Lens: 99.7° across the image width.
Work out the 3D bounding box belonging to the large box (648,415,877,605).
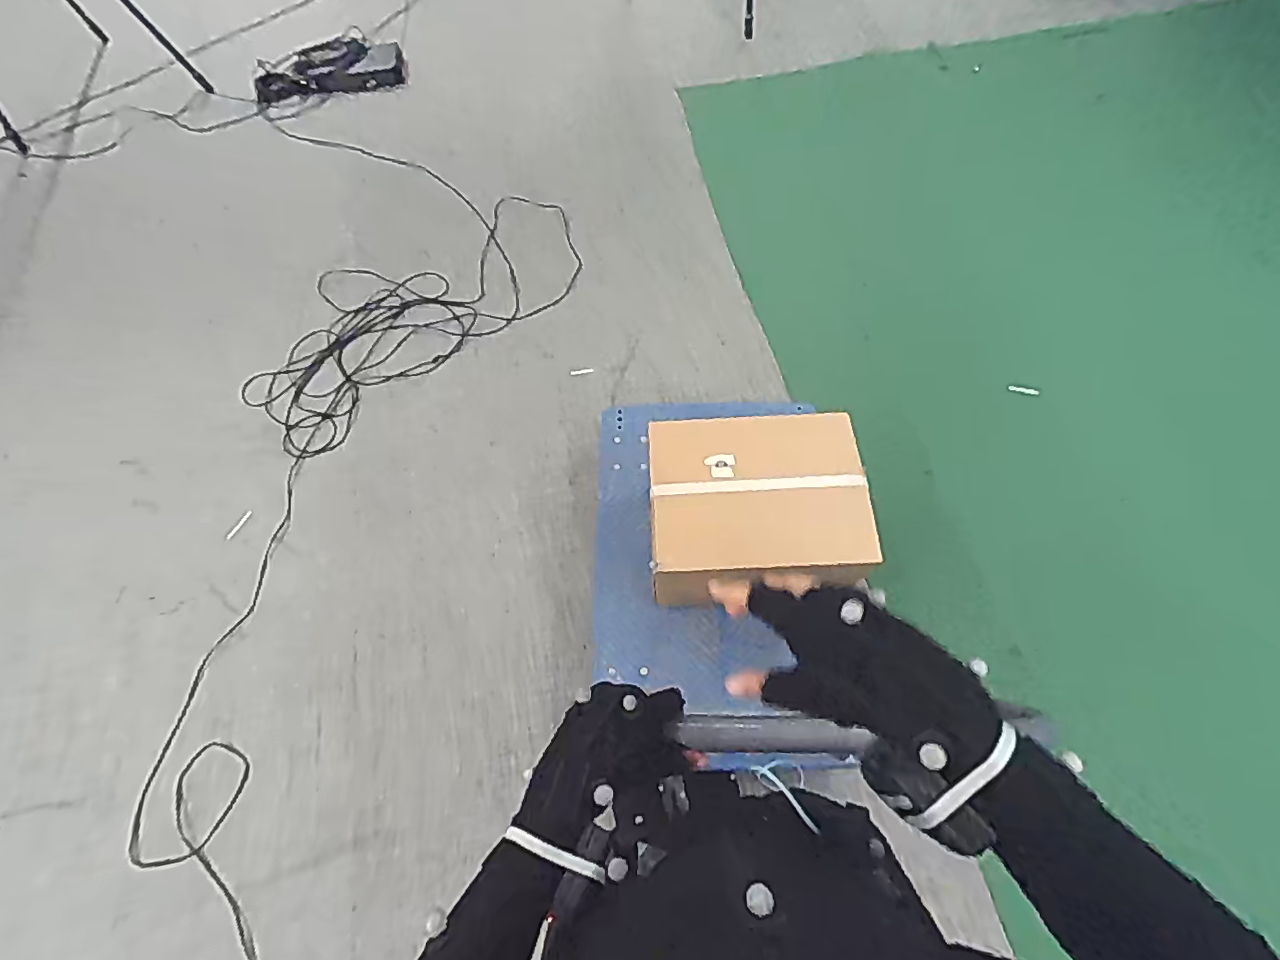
[{"bbox_3d":[0.233,0.081,1.176,0.408,0.320,0.320,-4,65,2],"label":"large box"}]
